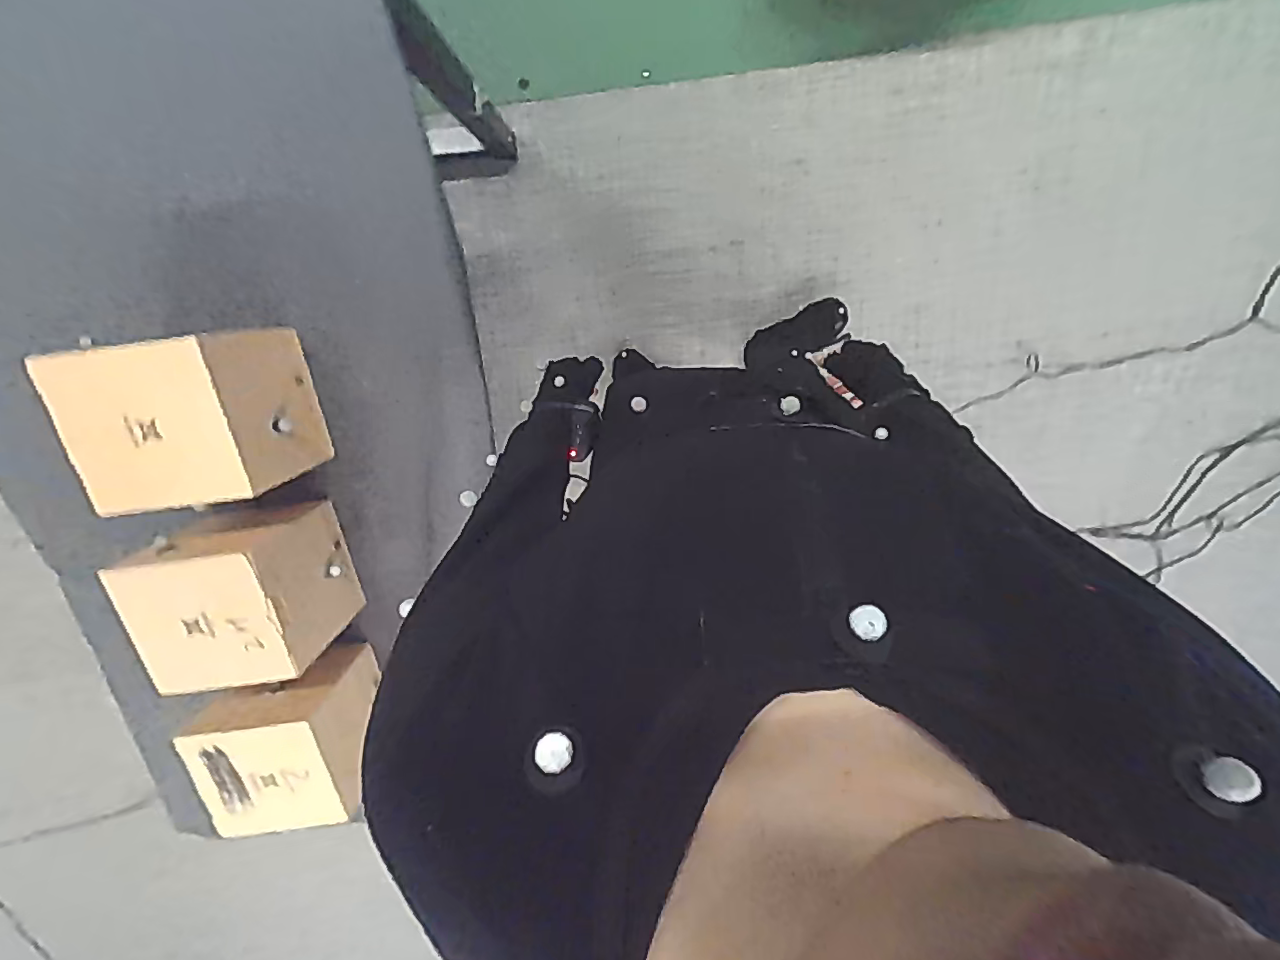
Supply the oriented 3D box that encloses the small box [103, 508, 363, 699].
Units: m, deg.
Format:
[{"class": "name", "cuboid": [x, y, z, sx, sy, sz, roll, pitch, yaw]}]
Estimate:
[{"class": "small box", "cuboid": [-0.494, 0.147, 0.688, 0.179, 0.176, 0.168, -8, 107, 2]}]
